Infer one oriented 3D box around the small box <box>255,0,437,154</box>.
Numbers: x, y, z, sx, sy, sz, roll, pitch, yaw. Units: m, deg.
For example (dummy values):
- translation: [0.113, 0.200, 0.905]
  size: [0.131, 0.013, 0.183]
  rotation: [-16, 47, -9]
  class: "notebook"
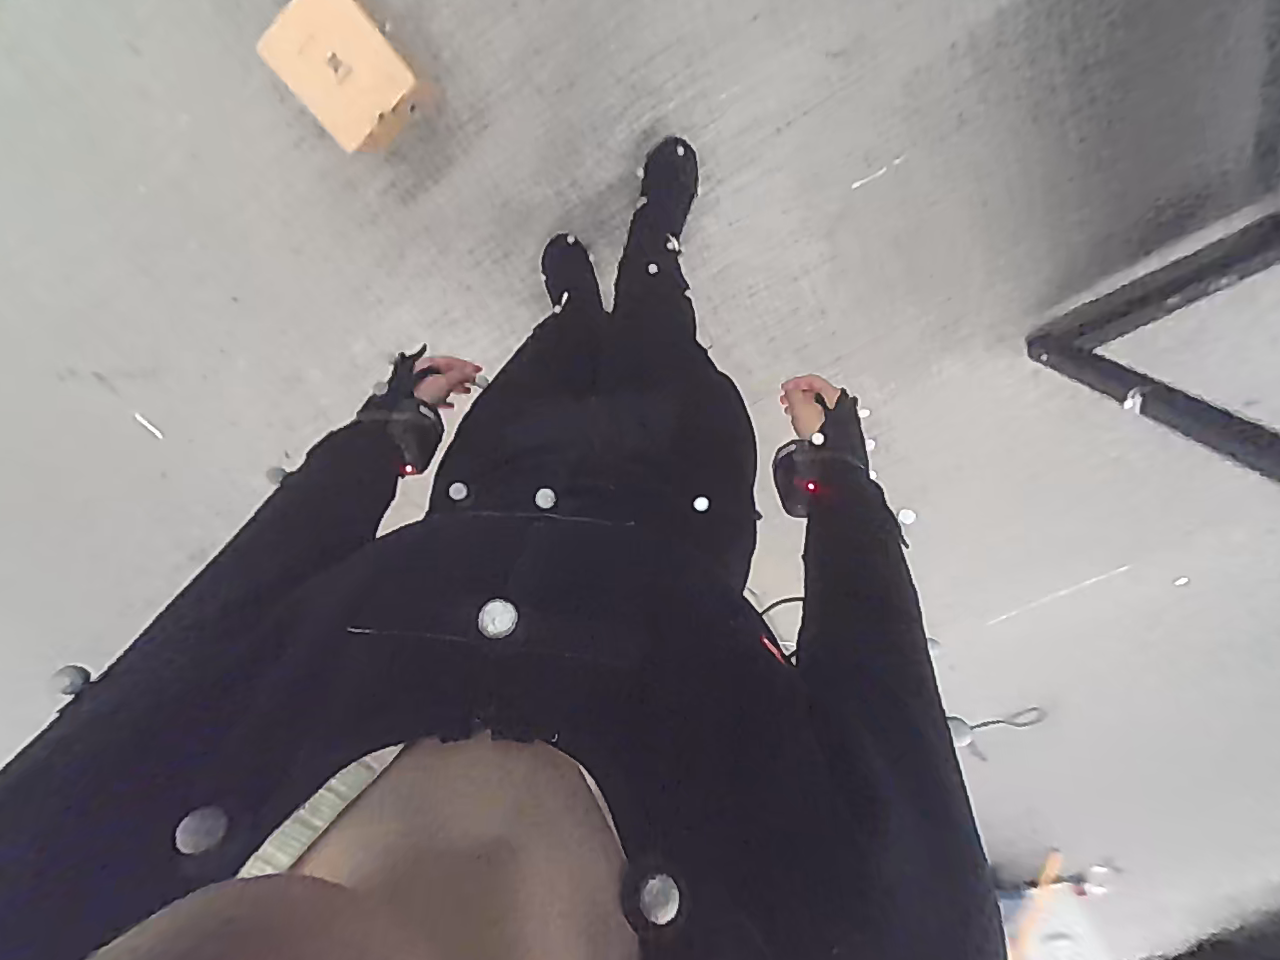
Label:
- translation: [-0.469, -0.678, 0.895]
  size: [0.168, 0.176, 0.179]
  rotation: [-35, 117, 16]
  class: "small box"
